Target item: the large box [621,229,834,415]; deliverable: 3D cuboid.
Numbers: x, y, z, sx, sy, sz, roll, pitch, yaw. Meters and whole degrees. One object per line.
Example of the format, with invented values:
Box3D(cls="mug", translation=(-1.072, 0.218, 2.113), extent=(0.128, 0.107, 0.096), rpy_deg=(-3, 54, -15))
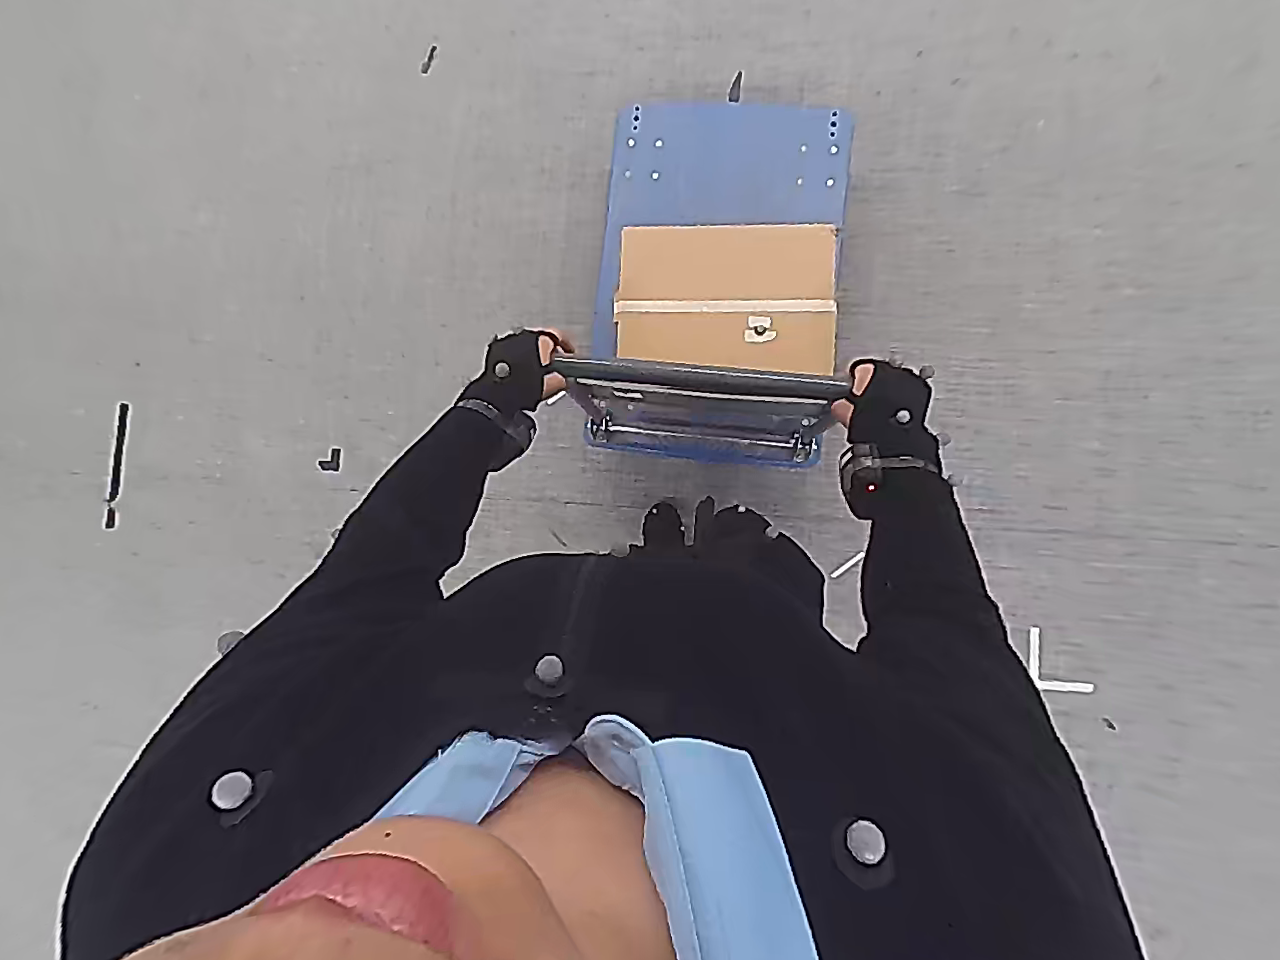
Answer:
Box3D(cls="large box", translation=(0.174, -0.318, 1.175), extent=(0.408, 0.320, 0.320), rpy_deg=(2, 89, 5))
